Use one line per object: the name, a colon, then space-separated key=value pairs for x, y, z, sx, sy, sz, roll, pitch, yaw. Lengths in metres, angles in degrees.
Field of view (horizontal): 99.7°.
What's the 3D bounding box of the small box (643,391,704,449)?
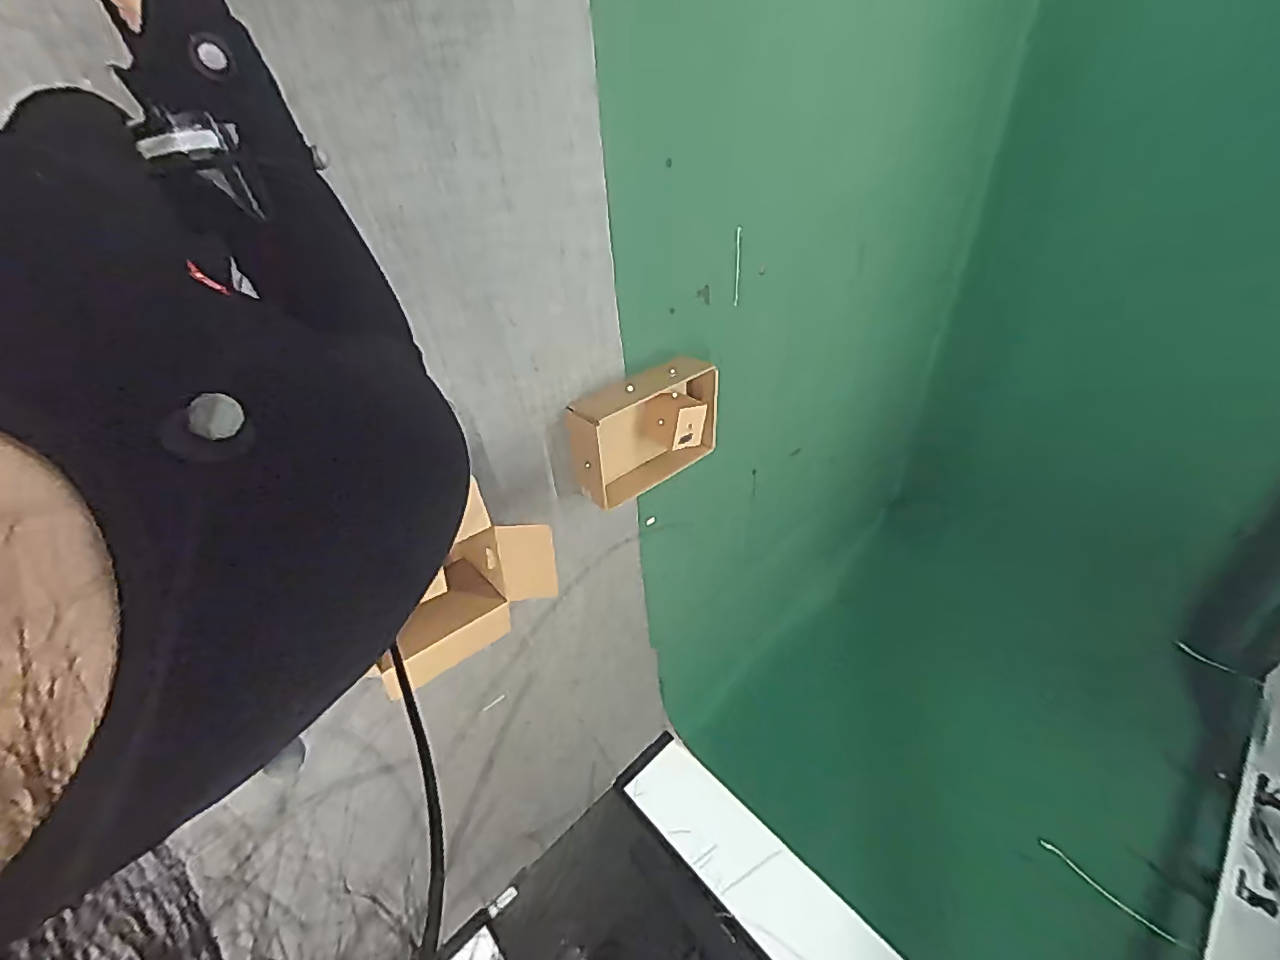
small box: x=0.129 y=-0.242 z=2.165 sx=0.168 sy=0.176 sz=0.179 roll=-15 pitch=124 yaw=-41
